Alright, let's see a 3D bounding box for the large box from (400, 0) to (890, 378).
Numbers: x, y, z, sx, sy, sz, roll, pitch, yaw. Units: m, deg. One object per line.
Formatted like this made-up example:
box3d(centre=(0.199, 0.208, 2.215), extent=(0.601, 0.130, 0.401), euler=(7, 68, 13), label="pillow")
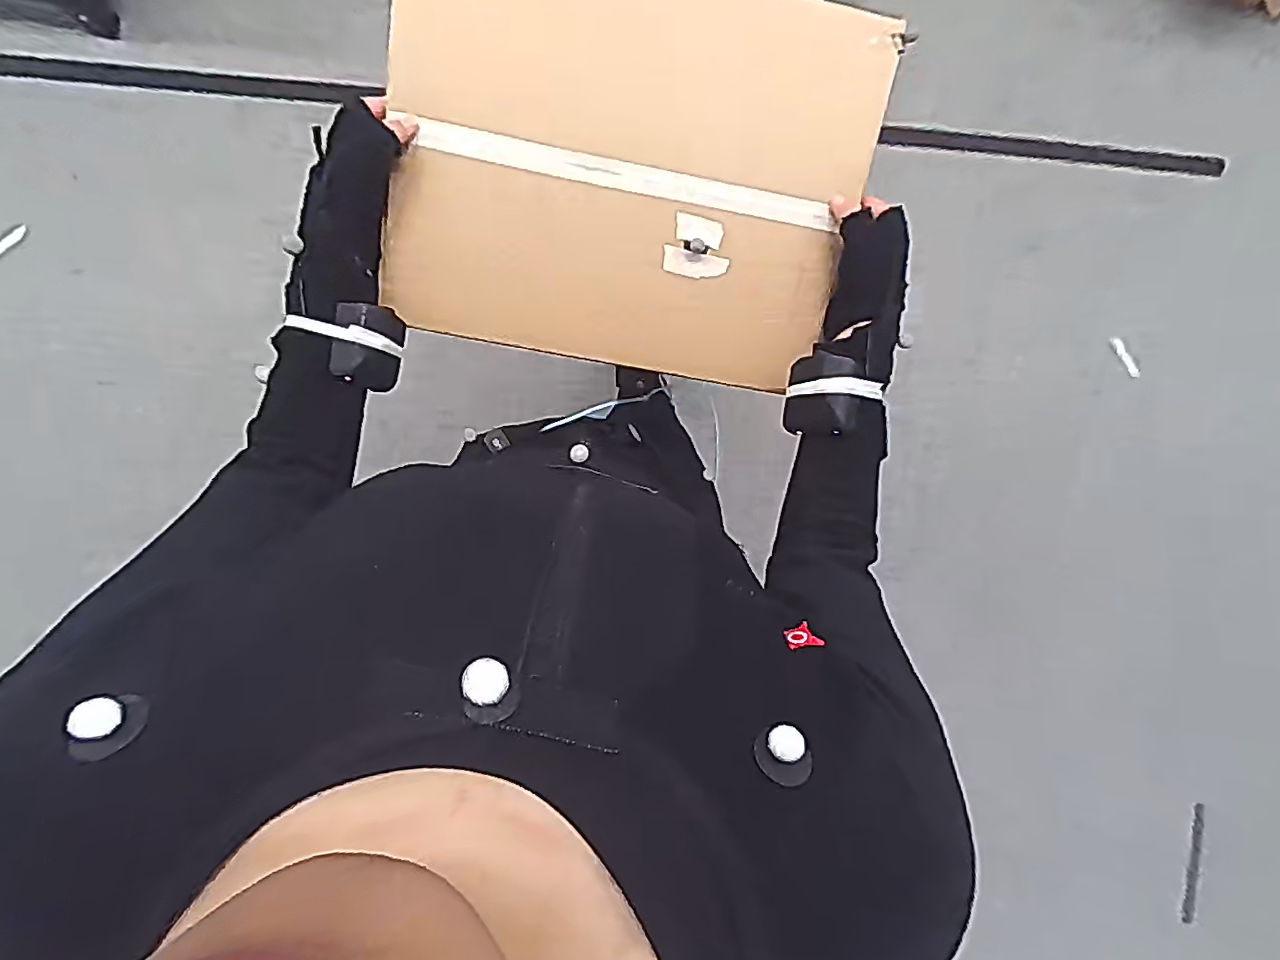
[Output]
box3d(centre=(-0.016, -0.312, 0.620), extent=(0.408, 0.320, 0.320), euler=(8, 106, -7), label="large box")
